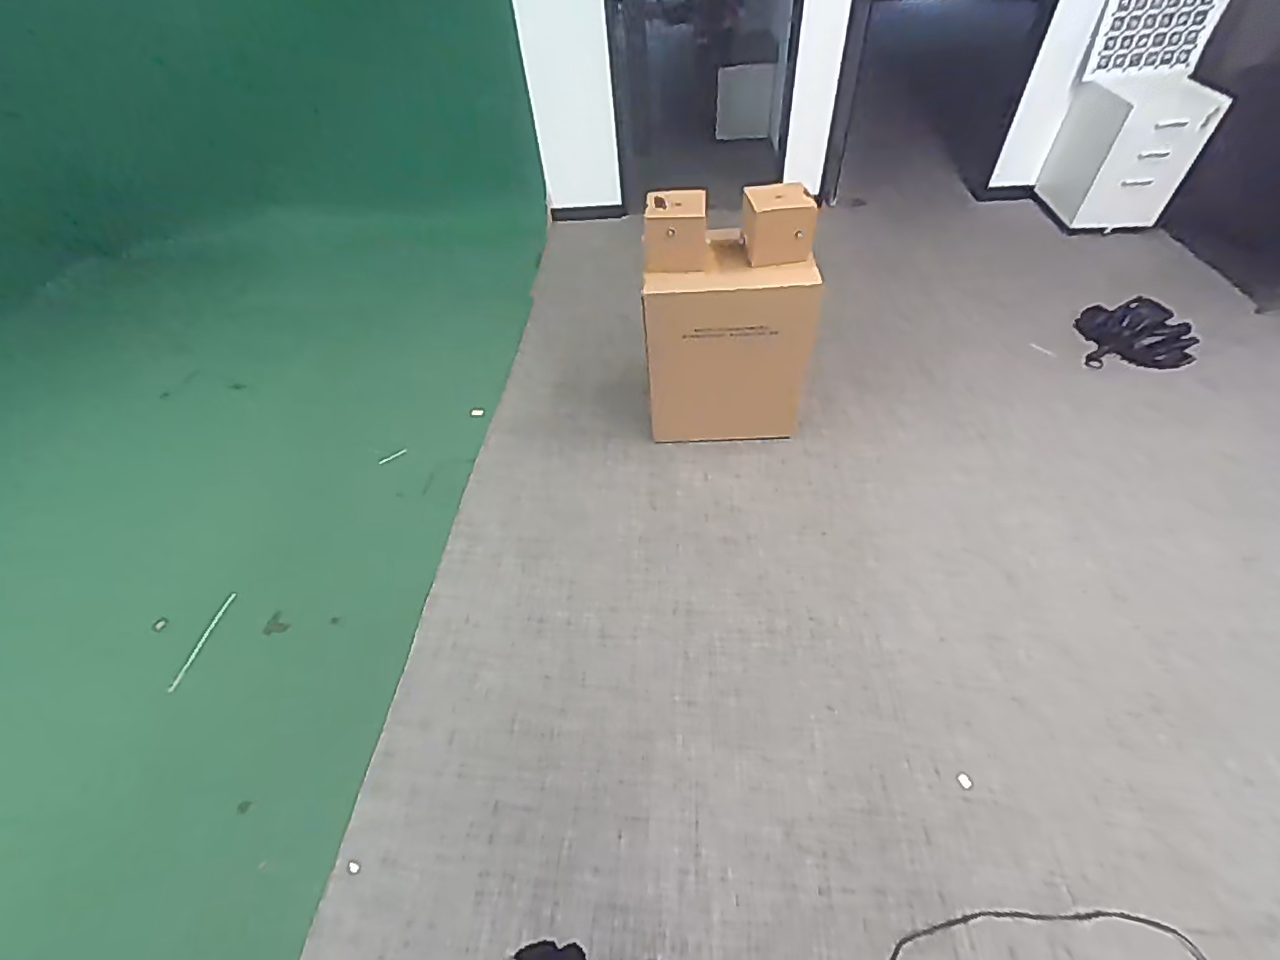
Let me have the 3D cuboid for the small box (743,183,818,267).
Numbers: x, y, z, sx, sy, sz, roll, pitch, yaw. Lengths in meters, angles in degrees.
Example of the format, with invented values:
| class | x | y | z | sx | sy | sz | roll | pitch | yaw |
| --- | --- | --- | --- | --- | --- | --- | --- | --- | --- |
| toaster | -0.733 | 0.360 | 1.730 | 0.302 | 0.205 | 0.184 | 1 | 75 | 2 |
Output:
| class | x | y | z | sx | sy | sz | roll | pitch | yaw |
| --- | --- | --- | --- | --- | --- | --- | --- | --- | --- |
| small box | 0.416 | -0.767 | 1.632 | 0.179 | 0.176 | 0.168 | -8 | 50 | 0 |

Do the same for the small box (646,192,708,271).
| class | x | y | z | sx | sy | sz | roll | pitch | yaw |
| --- | --- | --- | --- | --- | --- | --- | --- | --- | --- |
| small box | 0.118 | -0.754 | 1.648 | 0.179 | 0.176 | 0.168 | 1 | 52 | 6 |
